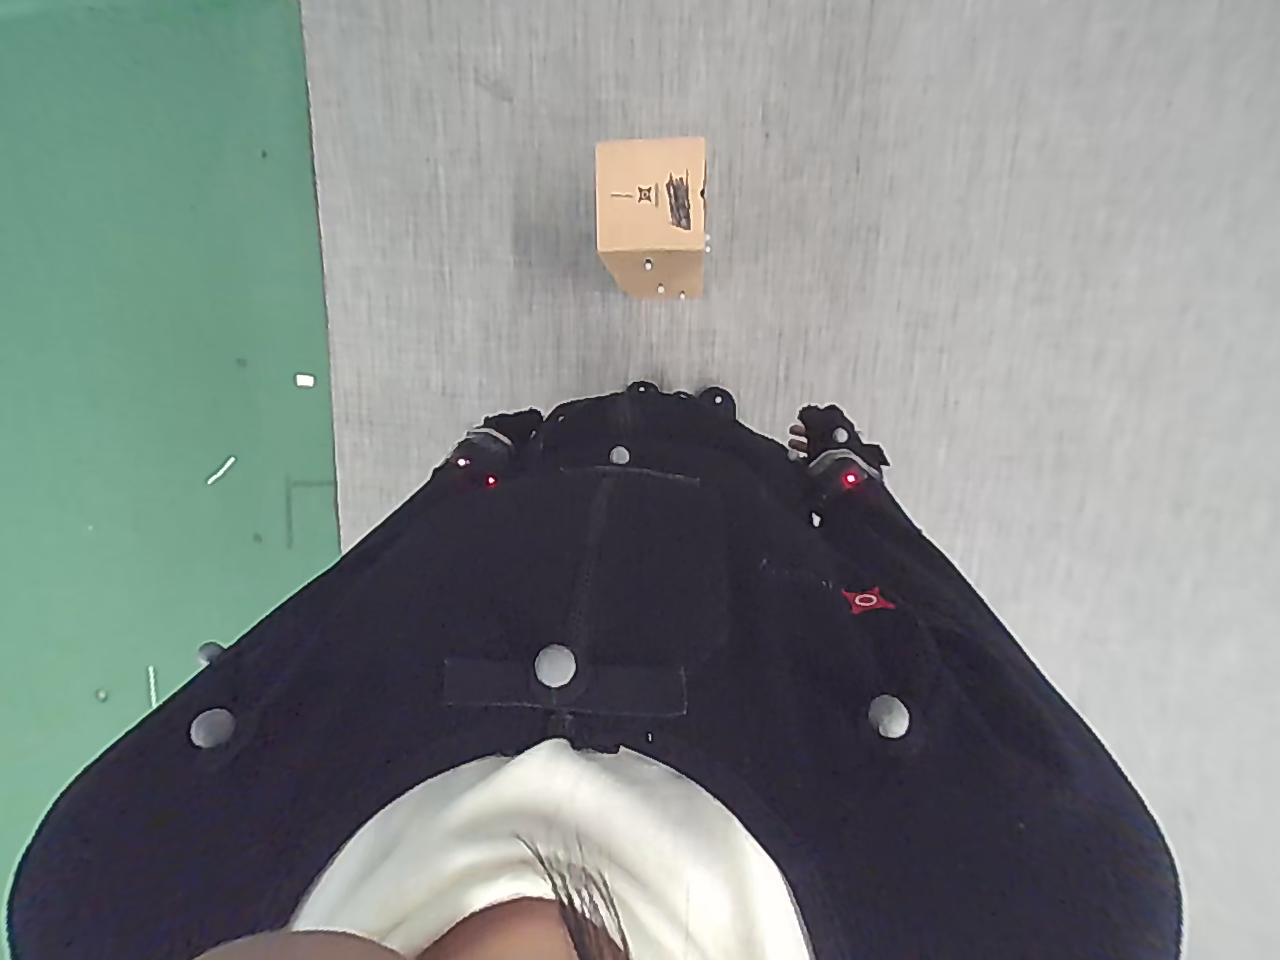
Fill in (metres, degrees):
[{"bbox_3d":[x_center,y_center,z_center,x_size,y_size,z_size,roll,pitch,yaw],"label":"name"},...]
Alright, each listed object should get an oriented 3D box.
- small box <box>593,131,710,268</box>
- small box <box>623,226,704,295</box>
[{"bbox_3d":[0.022,-0.470,0.929,0.179,0.176,0.168,4,99,4],"label":"small box"},{"bbox_3d":[0.057,-0.530,1.252,0.179,0.176,0.168,1,100,7],"label":"small box"}]
